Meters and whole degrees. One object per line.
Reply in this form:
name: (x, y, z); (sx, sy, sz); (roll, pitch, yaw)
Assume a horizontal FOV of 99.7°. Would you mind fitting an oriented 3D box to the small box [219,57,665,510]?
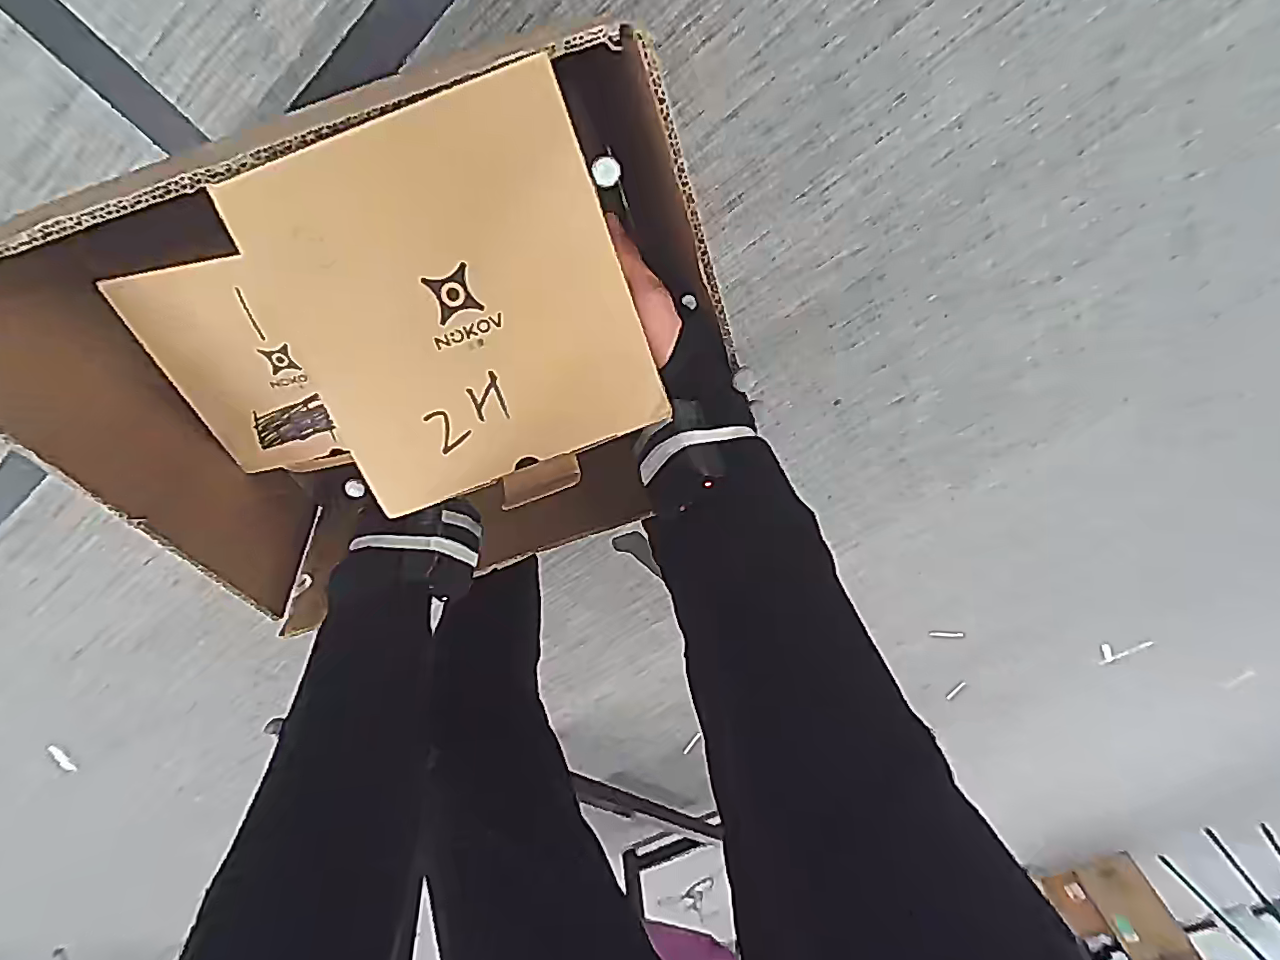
small box: (-0.095, -0.110, 0.344); (0.168, 0.176, 0.179); (-20, 109, 3)
